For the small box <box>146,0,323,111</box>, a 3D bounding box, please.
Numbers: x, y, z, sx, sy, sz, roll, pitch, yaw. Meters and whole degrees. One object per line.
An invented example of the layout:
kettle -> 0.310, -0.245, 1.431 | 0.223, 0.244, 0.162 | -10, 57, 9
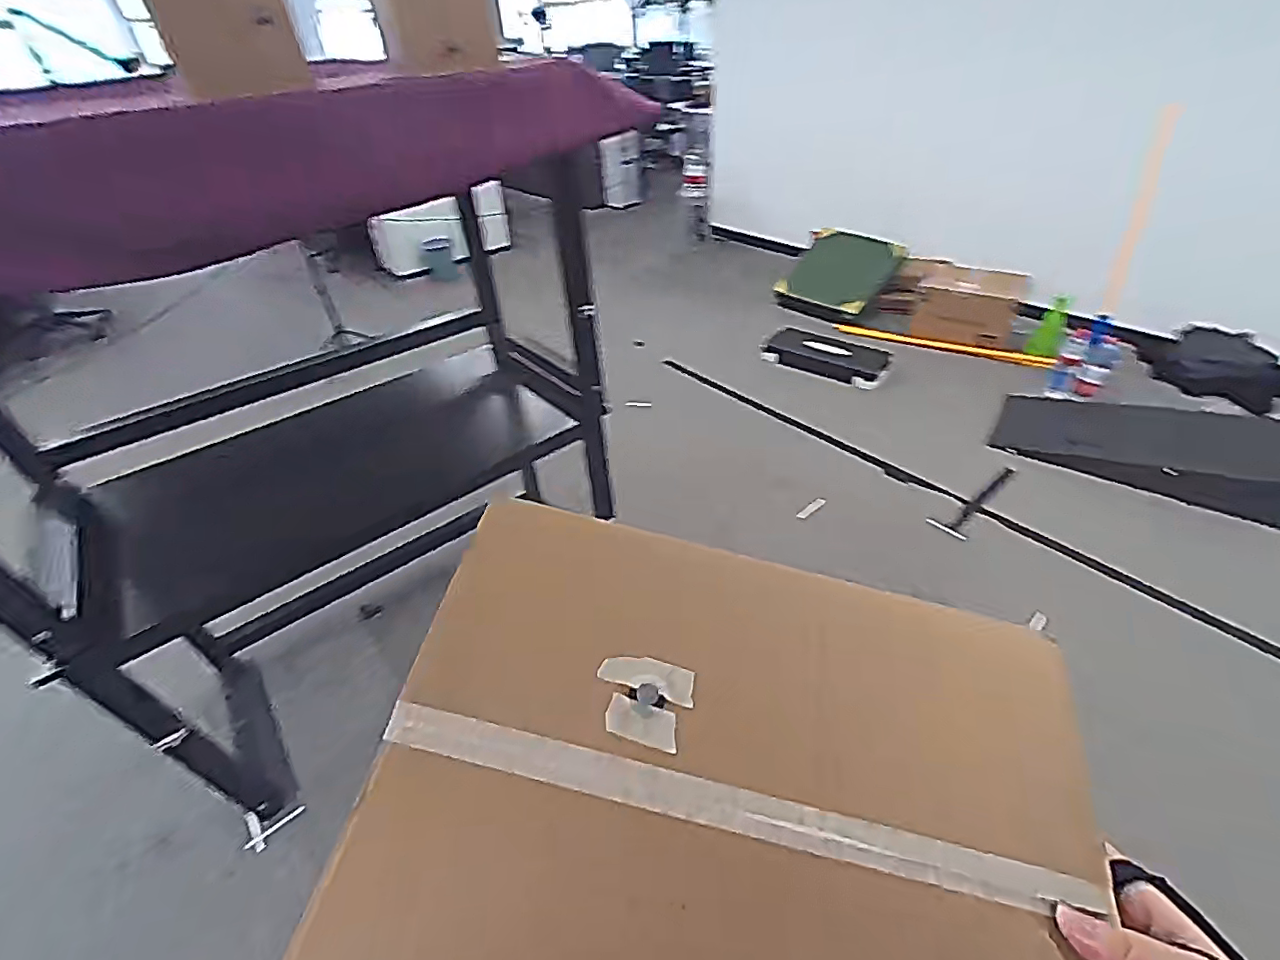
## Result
small box -> -0.595, -0.658, 0.795 | 0.179, 0.176, 0.168 | -28, 44, -25

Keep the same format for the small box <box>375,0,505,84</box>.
small box -> -0.351, -0.806, 0.945 | 0.179, 0.176, 0.168 | -26, 43, -24
